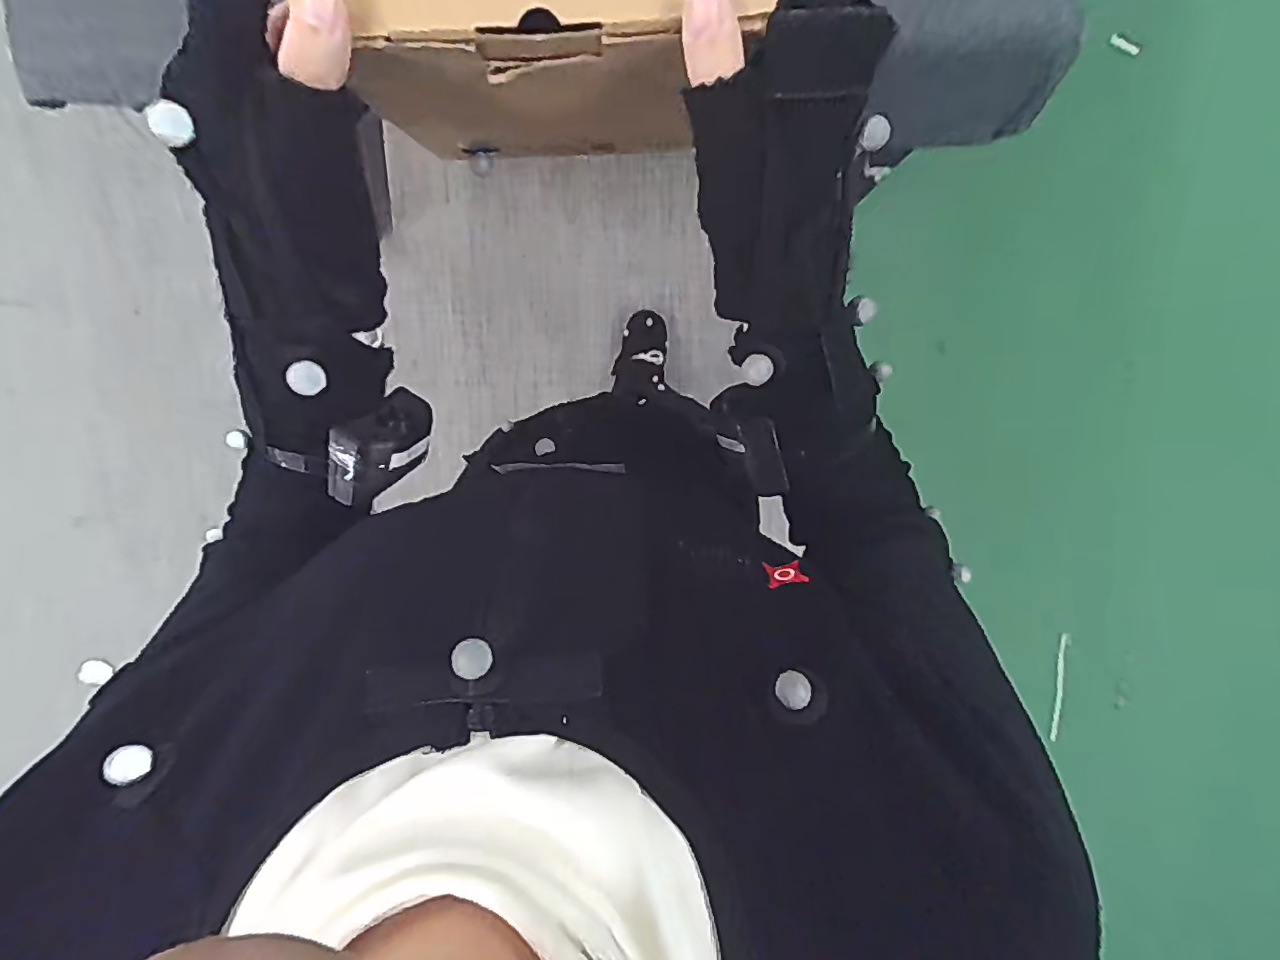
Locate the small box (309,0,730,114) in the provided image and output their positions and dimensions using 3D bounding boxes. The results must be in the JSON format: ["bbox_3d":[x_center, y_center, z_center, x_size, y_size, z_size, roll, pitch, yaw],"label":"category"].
[{"bbox_3d":[-0.045,-0.278,0.230,0.168,0.176,0.179,-3,108,-2],"label":"small box"}]
